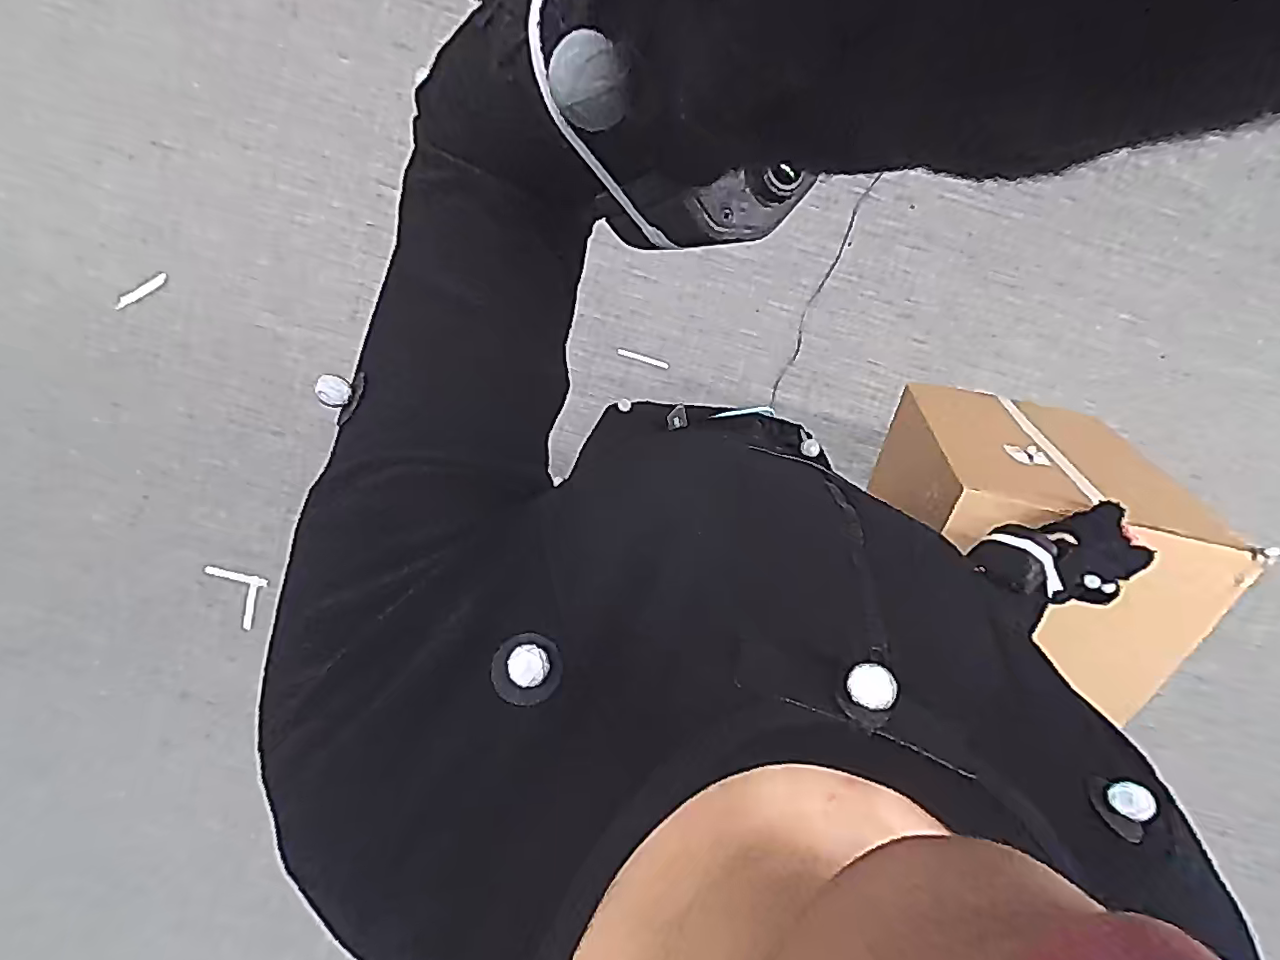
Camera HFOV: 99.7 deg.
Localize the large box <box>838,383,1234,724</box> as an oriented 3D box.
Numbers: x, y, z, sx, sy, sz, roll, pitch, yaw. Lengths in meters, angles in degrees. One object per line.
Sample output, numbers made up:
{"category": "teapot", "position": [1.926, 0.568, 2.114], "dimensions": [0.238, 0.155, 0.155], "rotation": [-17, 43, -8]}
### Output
{"category": "large box", "position": [0.530, 0.085, 0.855], "dimensions": [0.320, 0.408, 0.320], "rotation": [14, 122, 8]}
